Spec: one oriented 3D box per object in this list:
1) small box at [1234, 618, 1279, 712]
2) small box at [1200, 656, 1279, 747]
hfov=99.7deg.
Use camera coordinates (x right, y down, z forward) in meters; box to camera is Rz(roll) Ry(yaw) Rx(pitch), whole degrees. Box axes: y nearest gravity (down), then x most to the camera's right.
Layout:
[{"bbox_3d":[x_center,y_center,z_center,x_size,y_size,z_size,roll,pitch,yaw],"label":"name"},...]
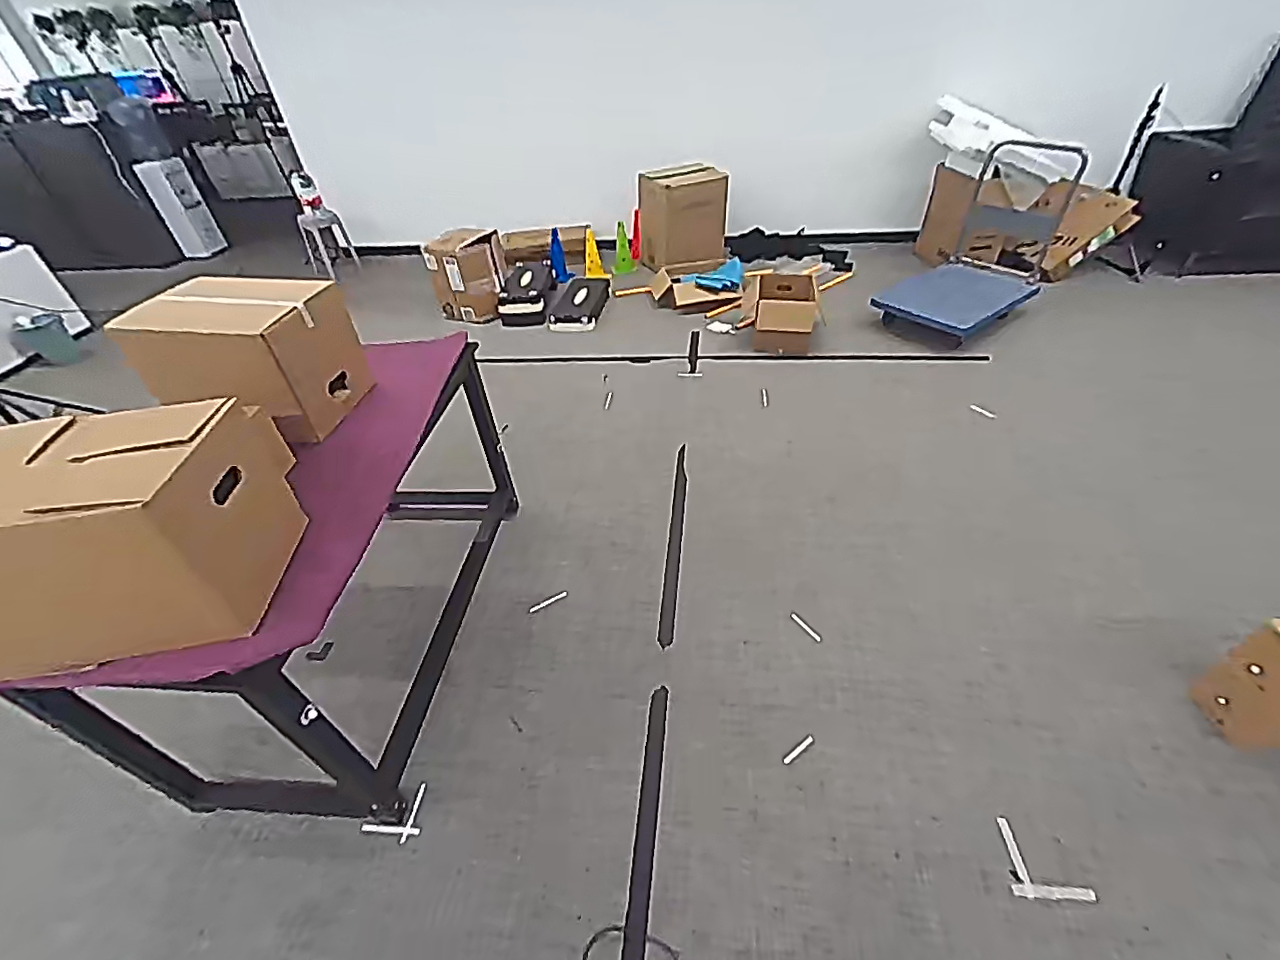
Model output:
[{"bbox_3d":[1.607,0.446,1.284,0.179,0.176,0.168,-1,40,5],"label":"small box"},{"bbox_3d":[1.616,0.570,1.390,0.179,0.176,0.168,-1,41,3],"label":"small box"}]
